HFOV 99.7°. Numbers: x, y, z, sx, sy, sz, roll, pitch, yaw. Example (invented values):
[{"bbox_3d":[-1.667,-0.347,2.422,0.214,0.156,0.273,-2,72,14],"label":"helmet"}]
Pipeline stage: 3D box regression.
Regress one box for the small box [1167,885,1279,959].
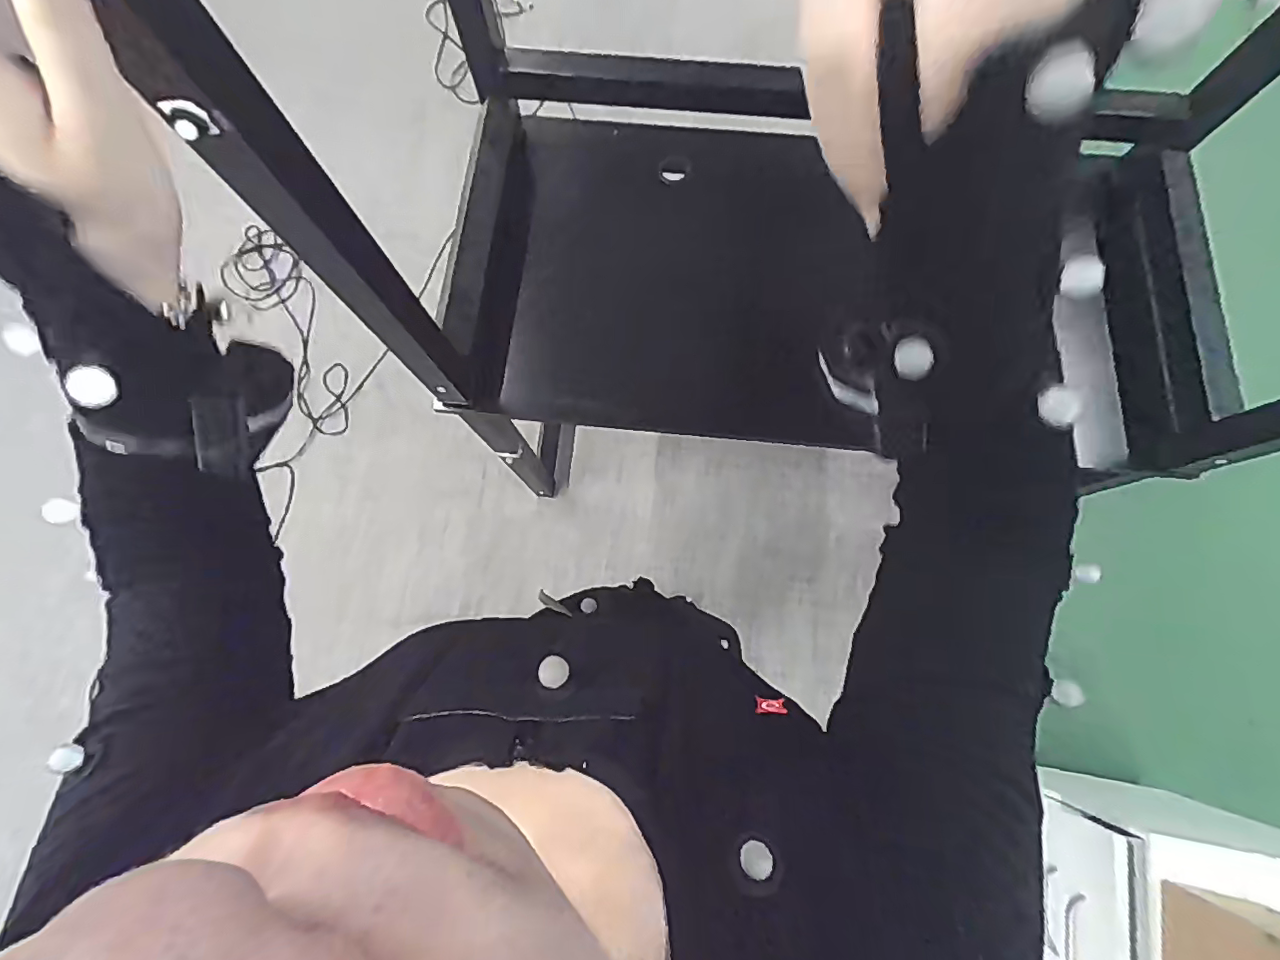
[{"bbox_3d":[0.844,0.675,0.705,0.168,0.176,0.179,12,77,4],"label":"small box"}]
